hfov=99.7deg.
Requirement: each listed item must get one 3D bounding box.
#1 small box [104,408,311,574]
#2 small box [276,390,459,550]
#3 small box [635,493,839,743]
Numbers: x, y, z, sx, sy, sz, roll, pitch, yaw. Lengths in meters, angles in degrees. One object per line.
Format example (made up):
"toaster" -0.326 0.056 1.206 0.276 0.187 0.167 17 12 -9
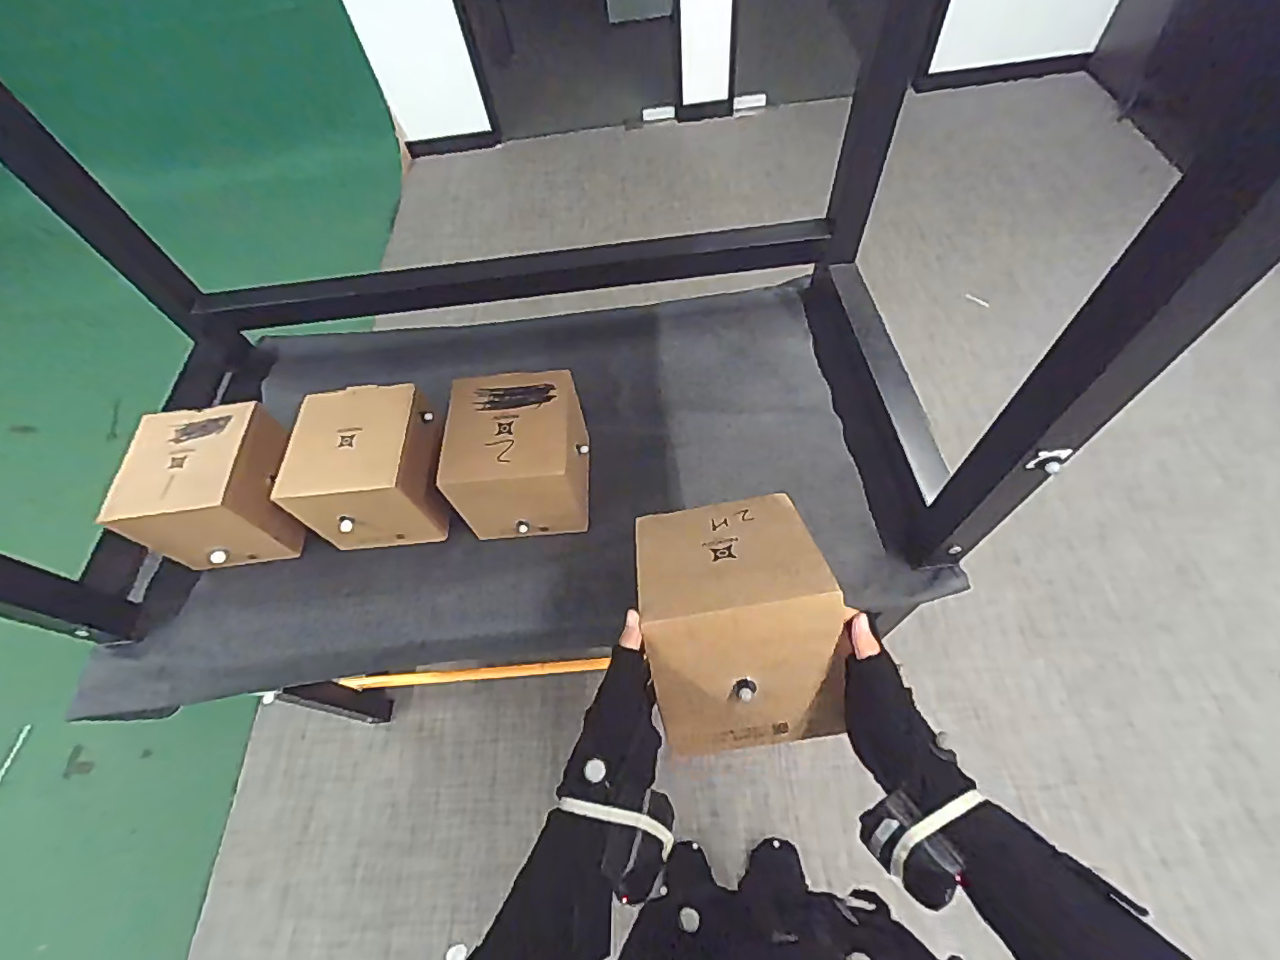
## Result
"small box" -0.606 0.020 0.801 0.168 0.176 0.179 -8 58 1
"small box" -0.381 -0.006 0.795 0.168 0.176 0.179 -5 57 2
"small box" 0.090 0.136 0.541 0.168 0.176 0.179 -10 24 3
